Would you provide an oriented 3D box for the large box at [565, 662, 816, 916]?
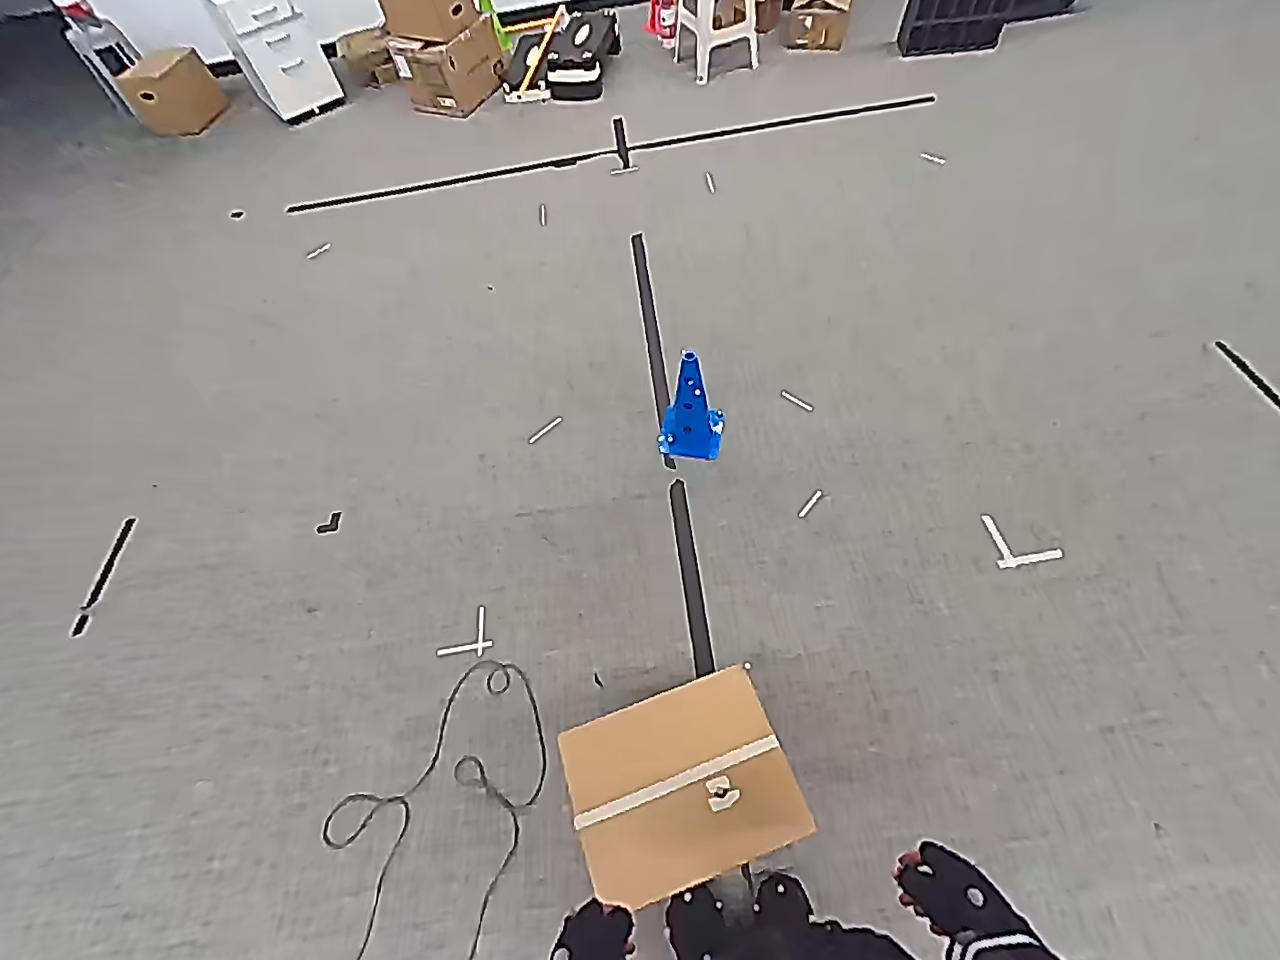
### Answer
[{"bbox_3d":[0.097,0.645,1.146,0.408,0.320,0.320,-20,57,-5],"label":"large box"}]

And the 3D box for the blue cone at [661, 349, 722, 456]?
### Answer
[{"bbox_3d":[0.157,-0.250,1.674,0.193,0.380,0.192,9,60,12],"label":"blue cone"}]
